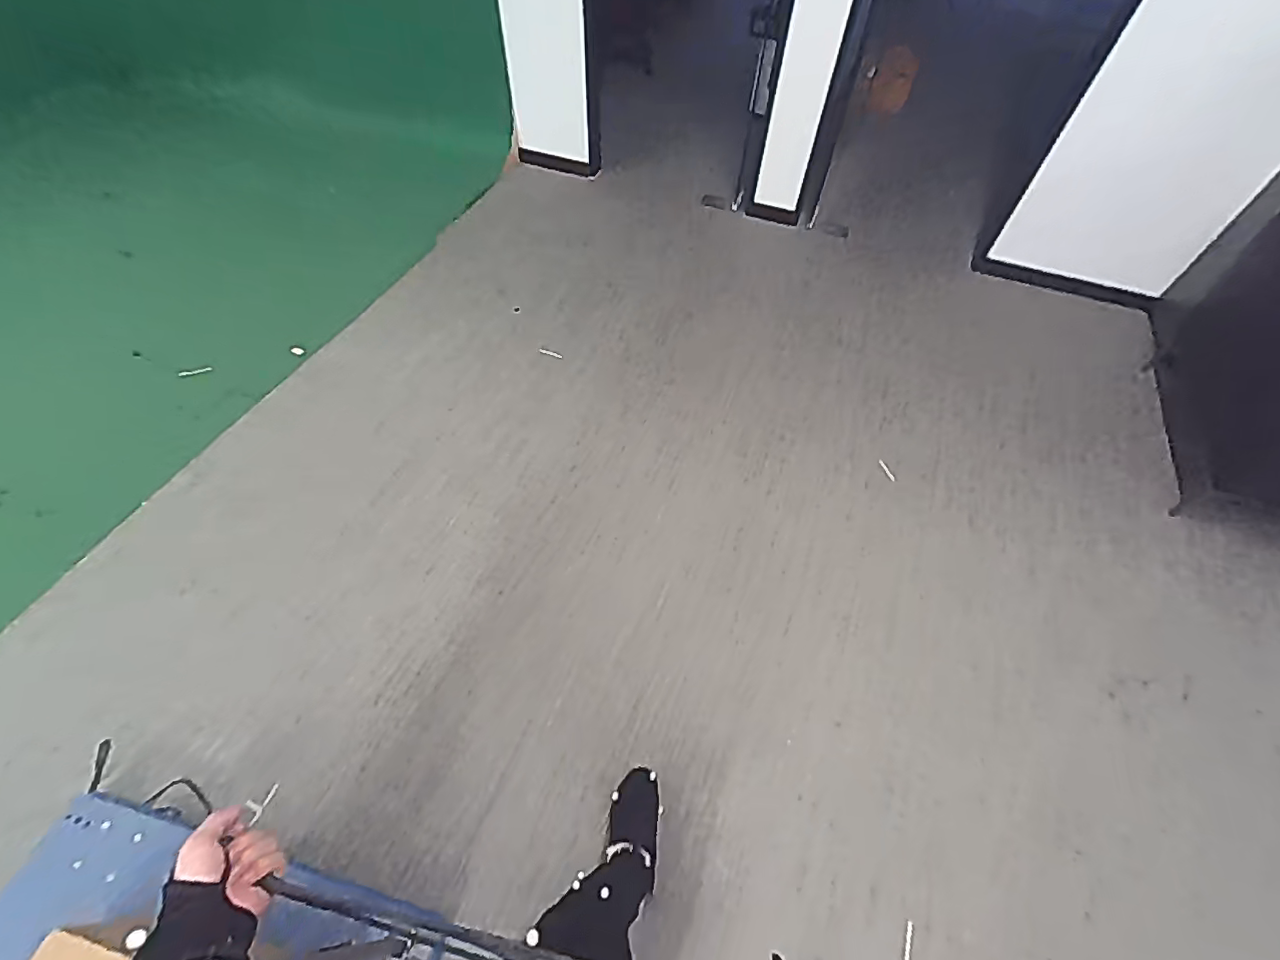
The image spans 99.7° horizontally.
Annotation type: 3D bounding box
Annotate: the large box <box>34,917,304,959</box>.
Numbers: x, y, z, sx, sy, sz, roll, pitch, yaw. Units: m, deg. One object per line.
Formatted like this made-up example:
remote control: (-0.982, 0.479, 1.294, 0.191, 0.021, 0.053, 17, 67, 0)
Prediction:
large box: (-0.735, 0.931, 0.828, 0.408, 0.320, 0.320, 13, 54, 8)
